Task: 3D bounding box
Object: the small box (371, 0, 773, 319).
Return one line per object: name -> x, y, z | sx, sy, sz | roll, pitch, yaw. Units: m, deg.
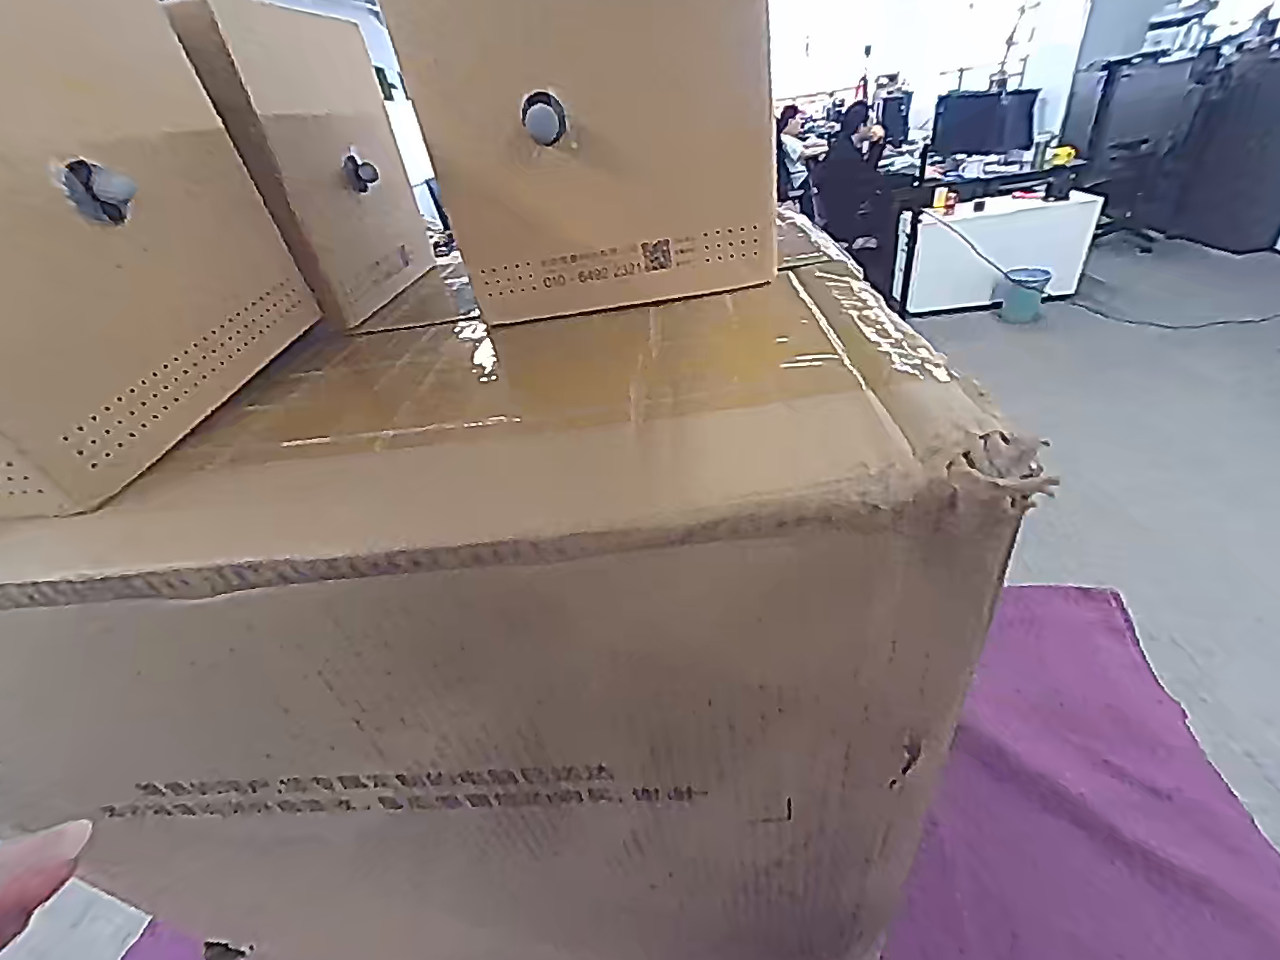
small box -> -0.018, -0.205, 0.322 | 0.168, 0.176, 0.179 | -7, 34, 6
